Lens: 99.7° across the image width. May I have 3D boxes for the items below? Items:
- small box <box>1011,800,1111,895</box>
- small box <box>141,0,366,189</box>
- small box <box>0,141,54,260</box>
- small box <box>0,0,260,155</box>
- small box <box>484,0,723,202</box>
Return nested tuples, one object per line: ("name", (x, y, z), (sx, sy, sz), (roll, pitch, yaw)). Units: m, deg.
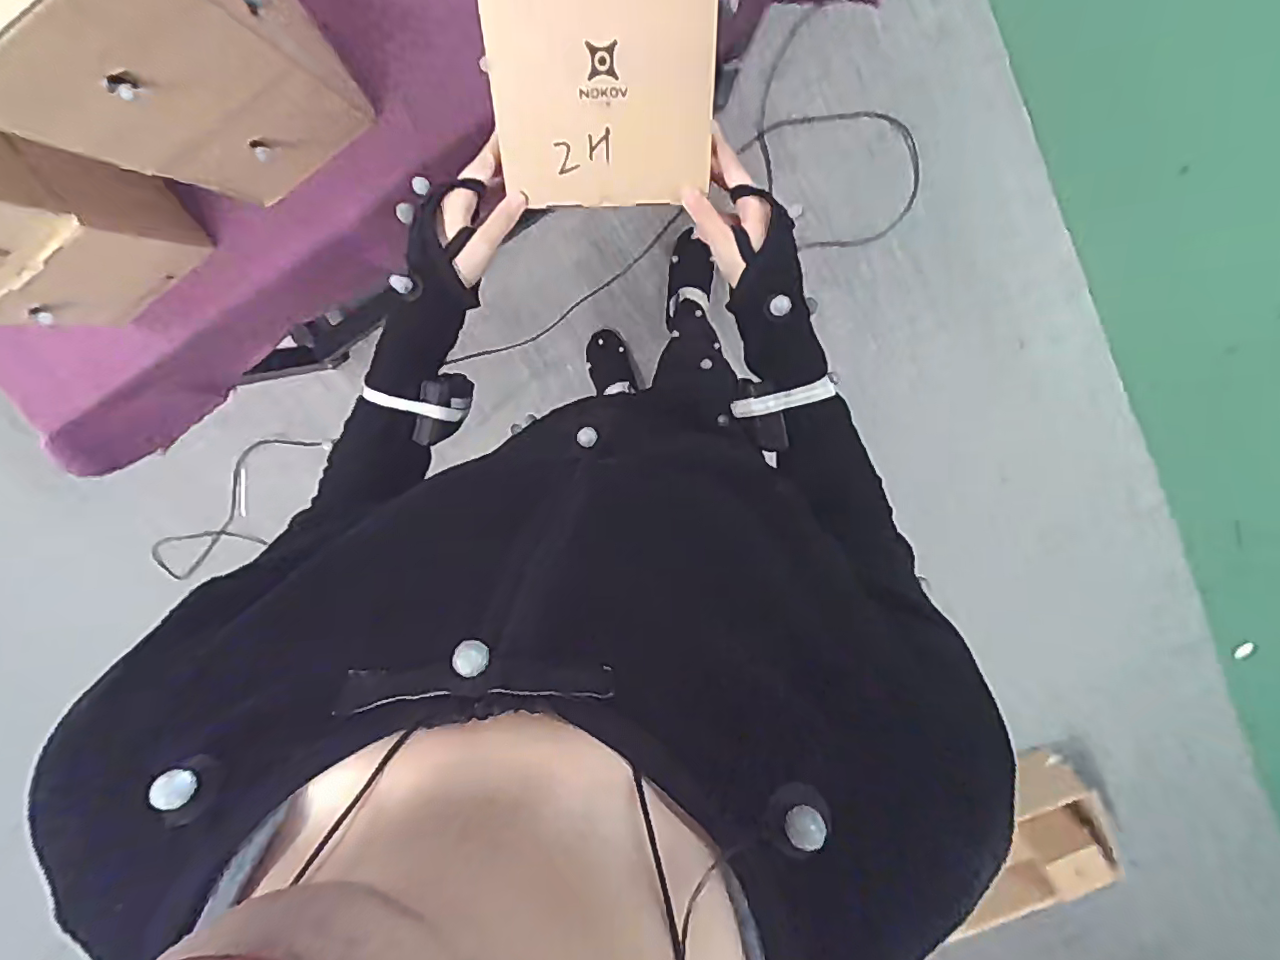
("small box", (1.351, 1.174, 1.746), (0.168, 0.176, 0.179), (-31, 104, 10))
("small box", (-0.420, -0.423, 0.535), (0.179, 0.176, 0.168), (-31, 104, 9))
("small box", (-0.645, -0.252, 0.419), (0.168, 0.176, 0.179), (-34, 103, 10))
("small box", (-0.418, -0.371, 0.380), (0.179, 0.176, 0.168), (-30, 104, 9))
("small box", (-0.024, -0.343, 0.451), (0.168, 0.176, 0.179), (2, 126, 1))
